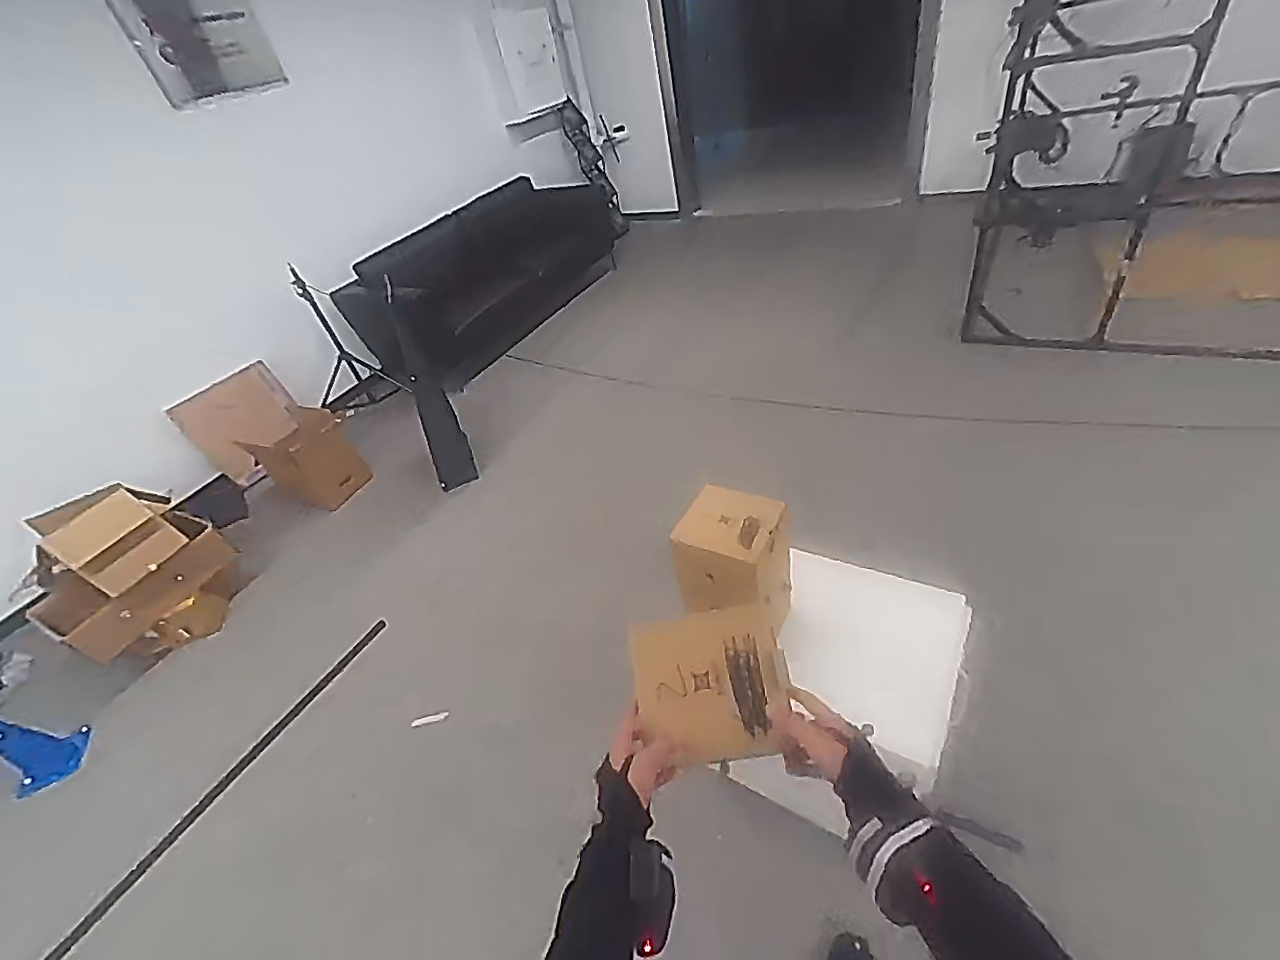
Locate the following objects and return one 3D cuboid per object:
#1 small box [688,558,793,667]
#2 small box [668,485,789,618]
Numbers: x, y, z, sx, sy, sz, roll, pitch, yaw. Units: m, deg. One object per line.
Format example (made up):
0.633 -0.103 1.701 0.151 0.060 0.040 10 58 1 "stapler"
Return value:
0.217 0.259 1.149 0.168 0.176 0.179 13 47 30 "small box"
0.179 0.139 1.043 0.179 0.176 0.168 13 47 31 "small box"
